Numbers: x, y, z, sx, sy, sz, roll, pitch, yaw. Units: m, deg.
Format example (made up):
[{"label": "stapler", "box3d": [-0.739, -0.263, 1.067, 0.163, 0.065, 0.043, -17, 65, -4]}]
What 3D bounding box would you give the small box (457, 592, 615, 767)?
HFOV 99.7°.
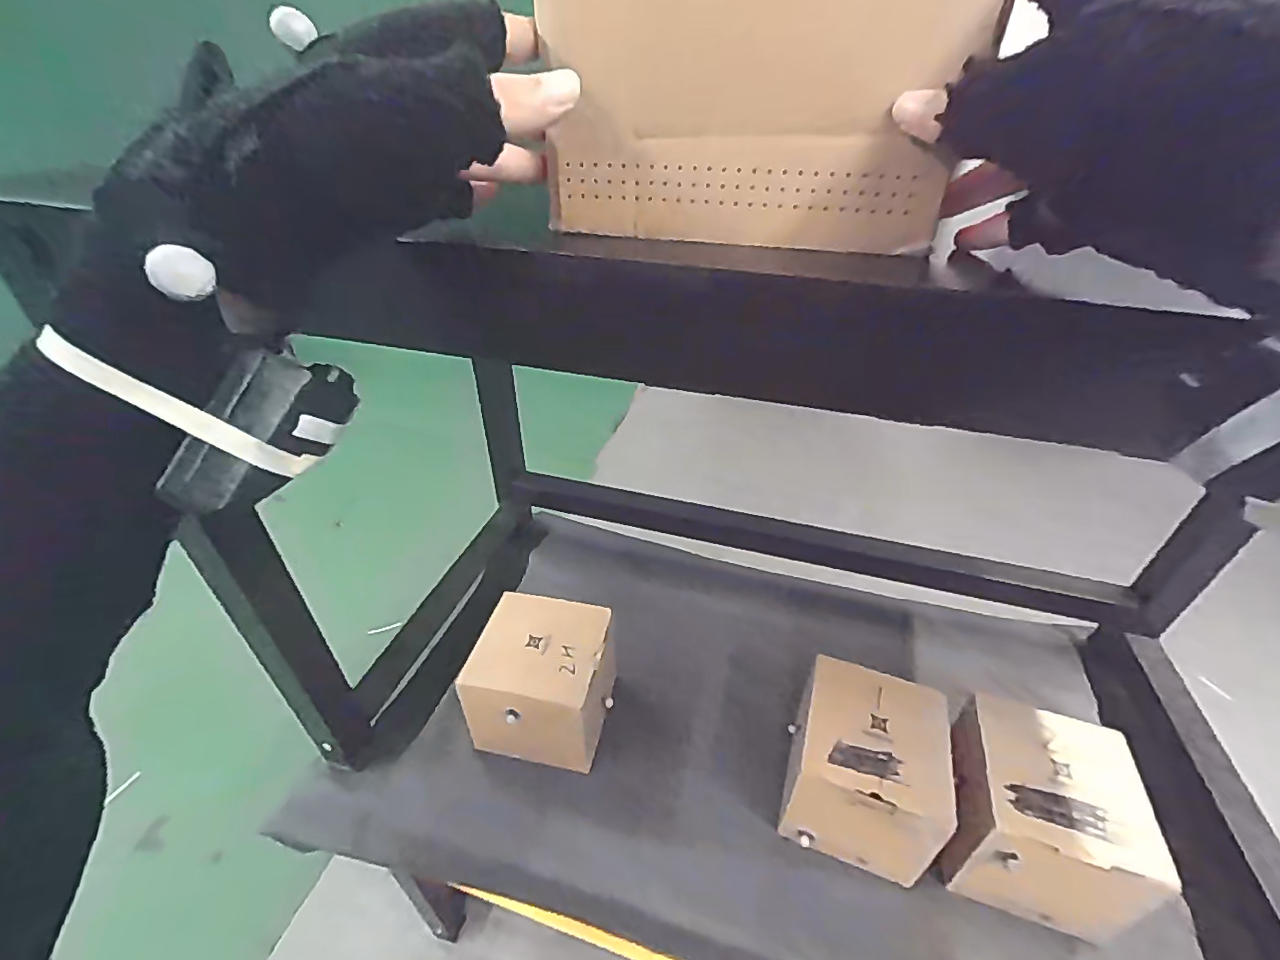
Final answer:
[{"label": "small box", "box3d": [-0.141, 0.295, 0.803, 0.179, 0.176, 0.168, 8, 37, 9]}]
